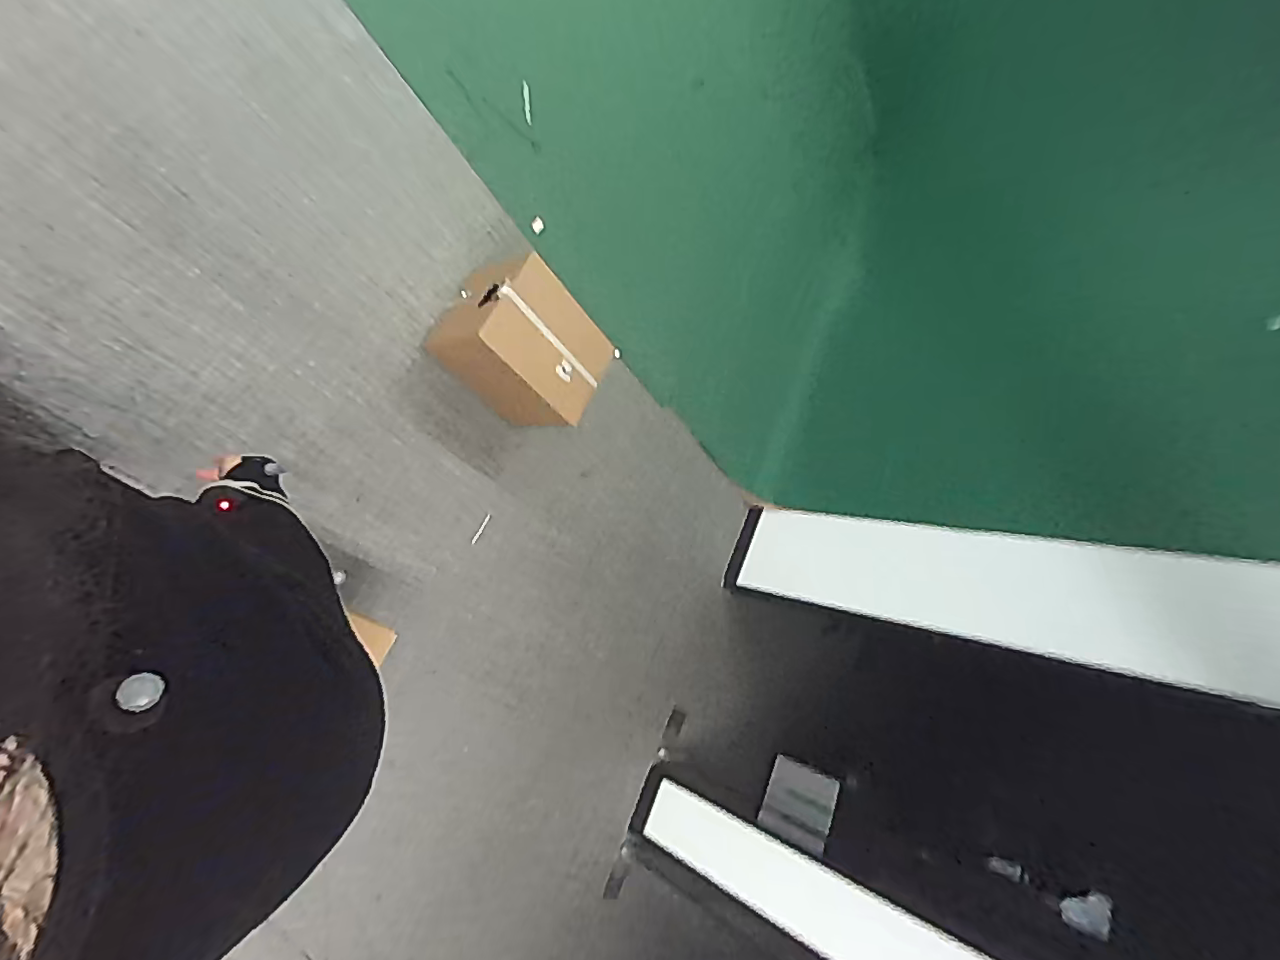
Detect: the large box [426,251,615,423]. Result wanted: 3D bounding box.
[{"bbox_3d":[-0.353,-0.410,1.648,0.408,0.320,0.320,45,61,-42],"label":"large box"}]
